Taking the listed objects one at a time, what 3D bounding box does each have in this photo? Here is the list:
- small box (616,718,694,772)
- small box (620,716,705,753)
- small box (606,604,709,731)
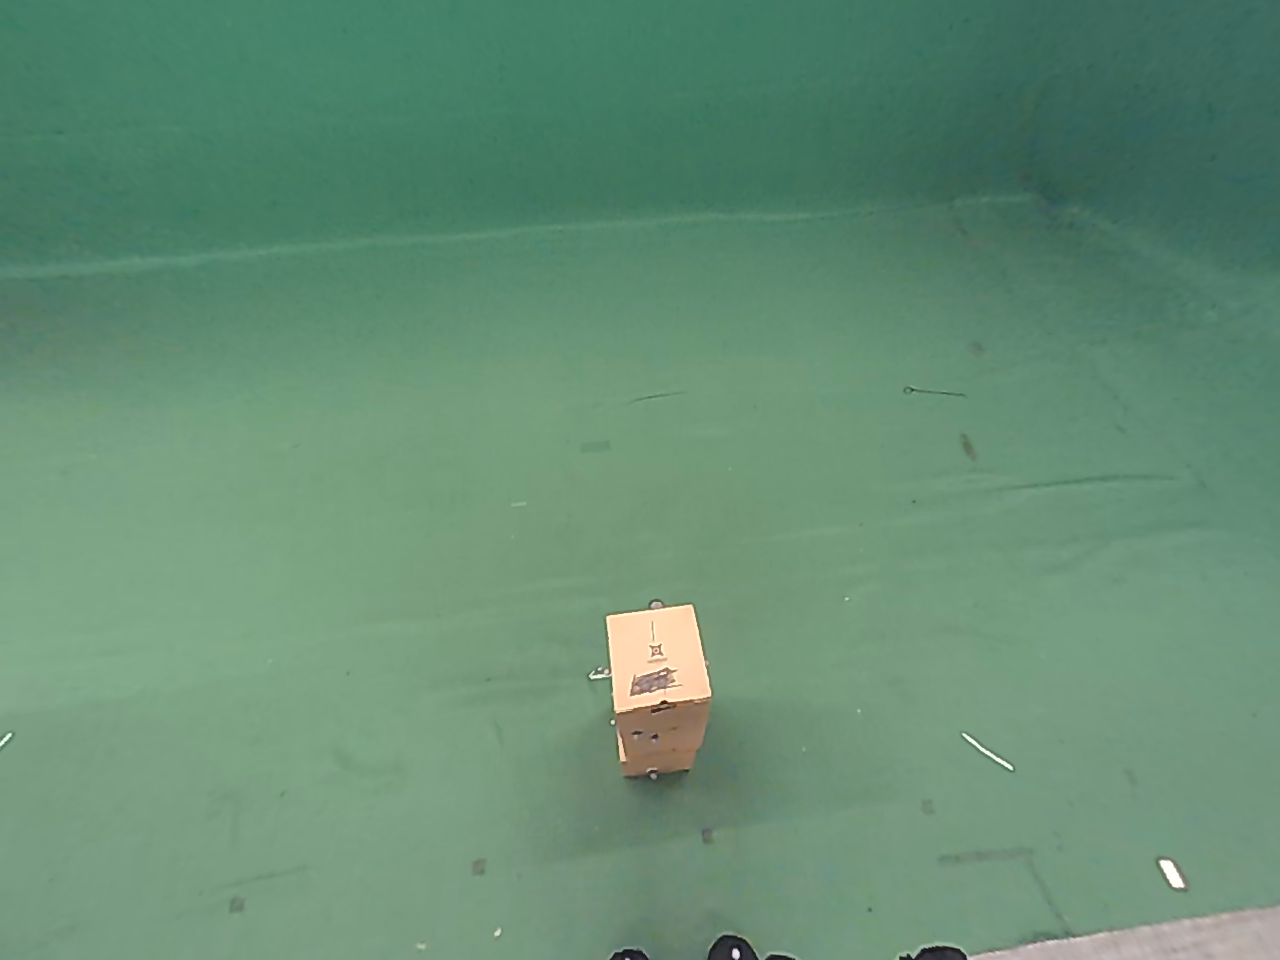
[{"bbox_3d":[0.029,0.556,1.249,0.168,0.176,0.179,-5,51,-1],"label":"small box"},{"bbox_3d":[0.036,0.459,1.141,0.168,0.176,0.179,-6,50,-3],"label":"small box"},{"bbox_3d":[0.030,0.356,1.012,0.168,0.176,0.179,-6,50,-4],"label":"small box"}]
